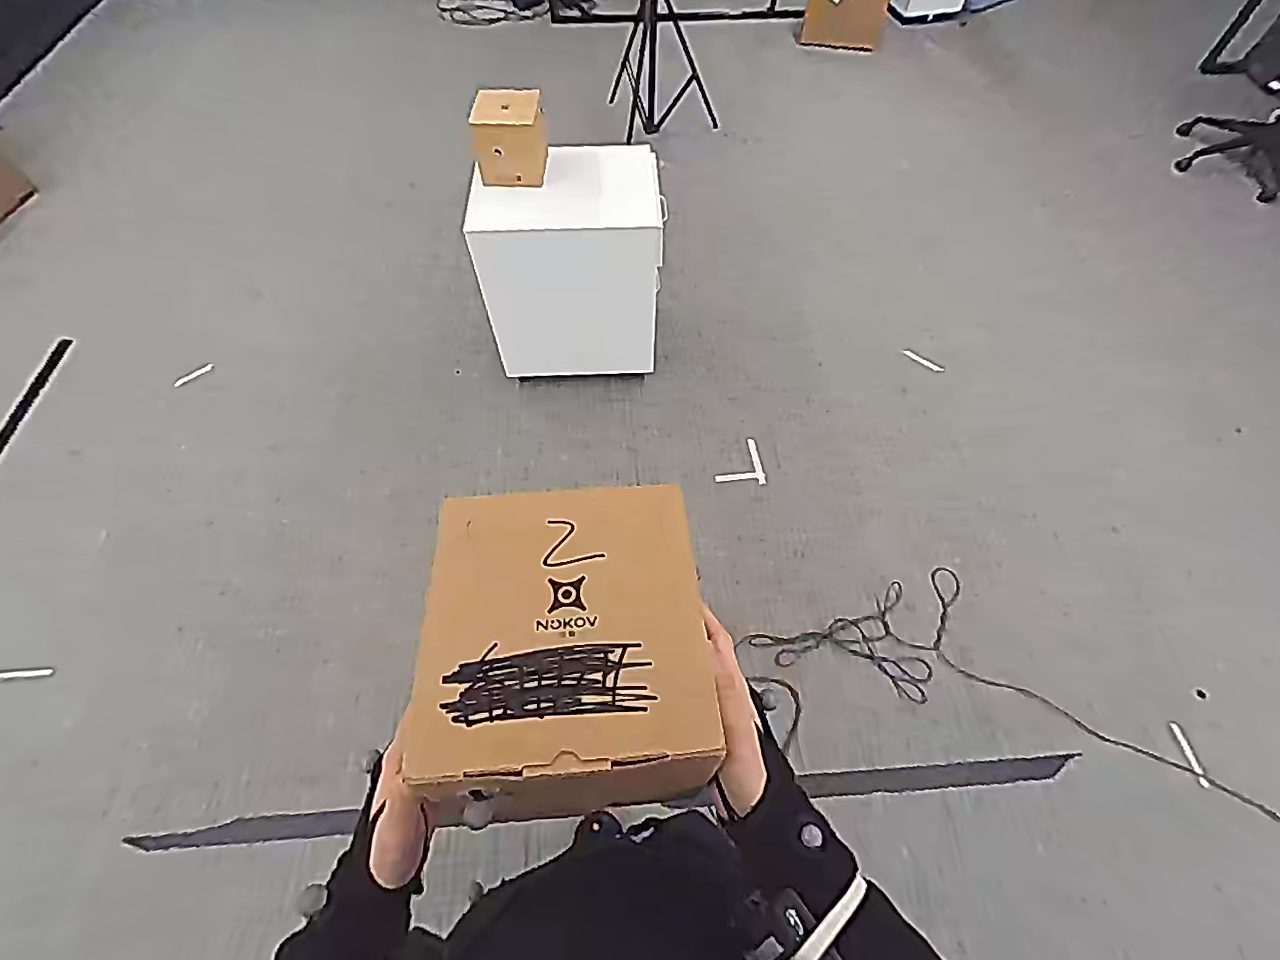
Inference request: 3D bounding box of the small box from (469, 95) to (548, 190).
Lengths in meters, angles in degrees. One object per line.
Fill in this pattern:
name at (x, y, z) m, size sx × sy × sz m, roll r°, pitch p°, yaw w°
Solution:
small box at (-0.349, -0.912, 1.467) m, size 0.168 × 0.176 × 0.179 m, roll 0°, pitch 59°, yaw 0°
